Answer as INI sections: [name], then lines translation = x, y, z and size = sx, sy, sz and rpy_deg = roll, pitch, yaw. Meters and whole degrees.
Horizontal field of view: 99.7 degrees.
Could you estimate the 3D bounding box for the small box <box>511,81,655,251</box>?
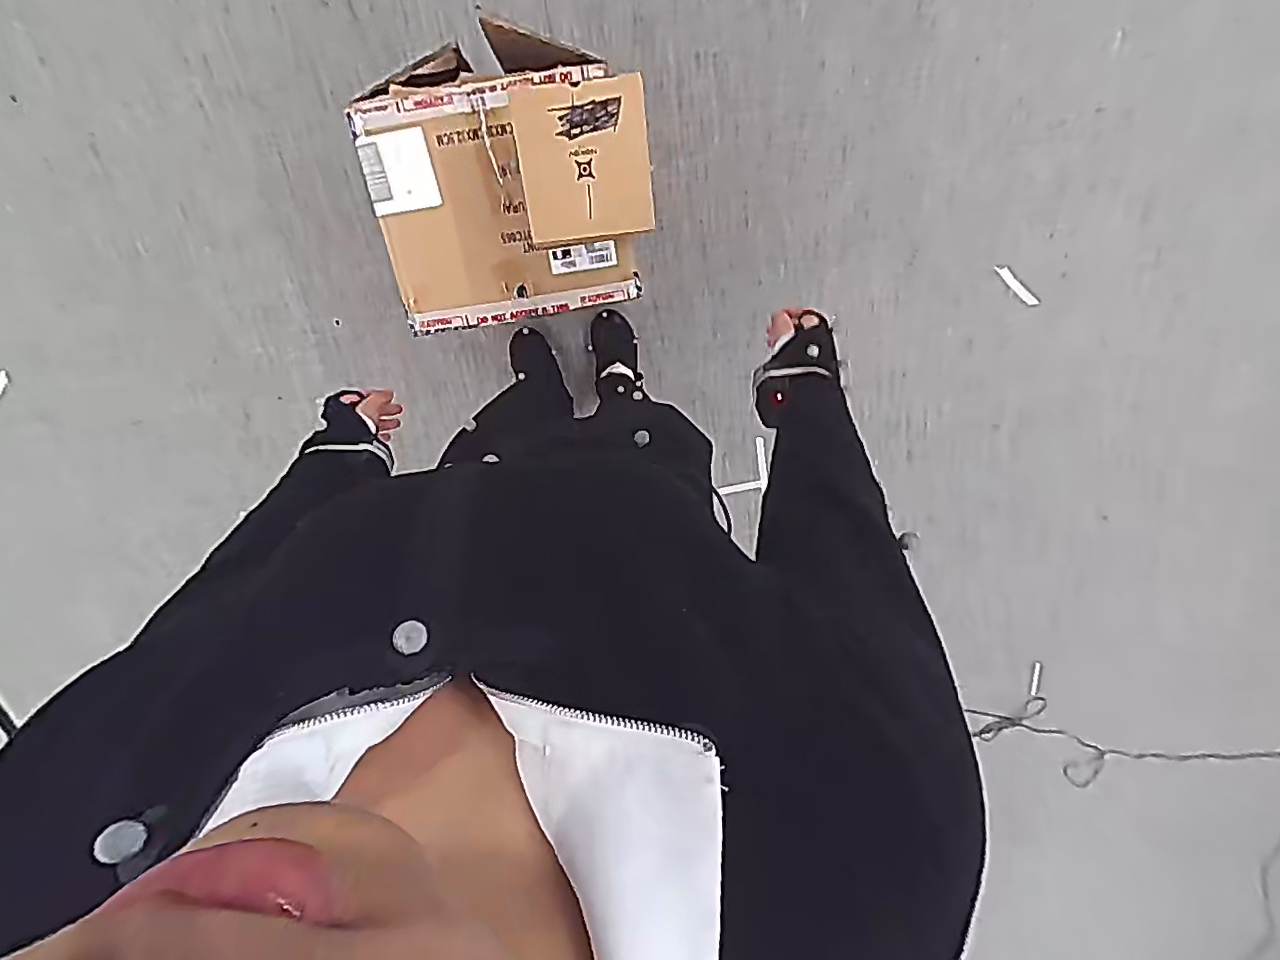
[small box]
translation = -0.077, -0.424, 0.756
size = 0.168, 0.176, 0.179
rpy_deg = -8, 113, -3
